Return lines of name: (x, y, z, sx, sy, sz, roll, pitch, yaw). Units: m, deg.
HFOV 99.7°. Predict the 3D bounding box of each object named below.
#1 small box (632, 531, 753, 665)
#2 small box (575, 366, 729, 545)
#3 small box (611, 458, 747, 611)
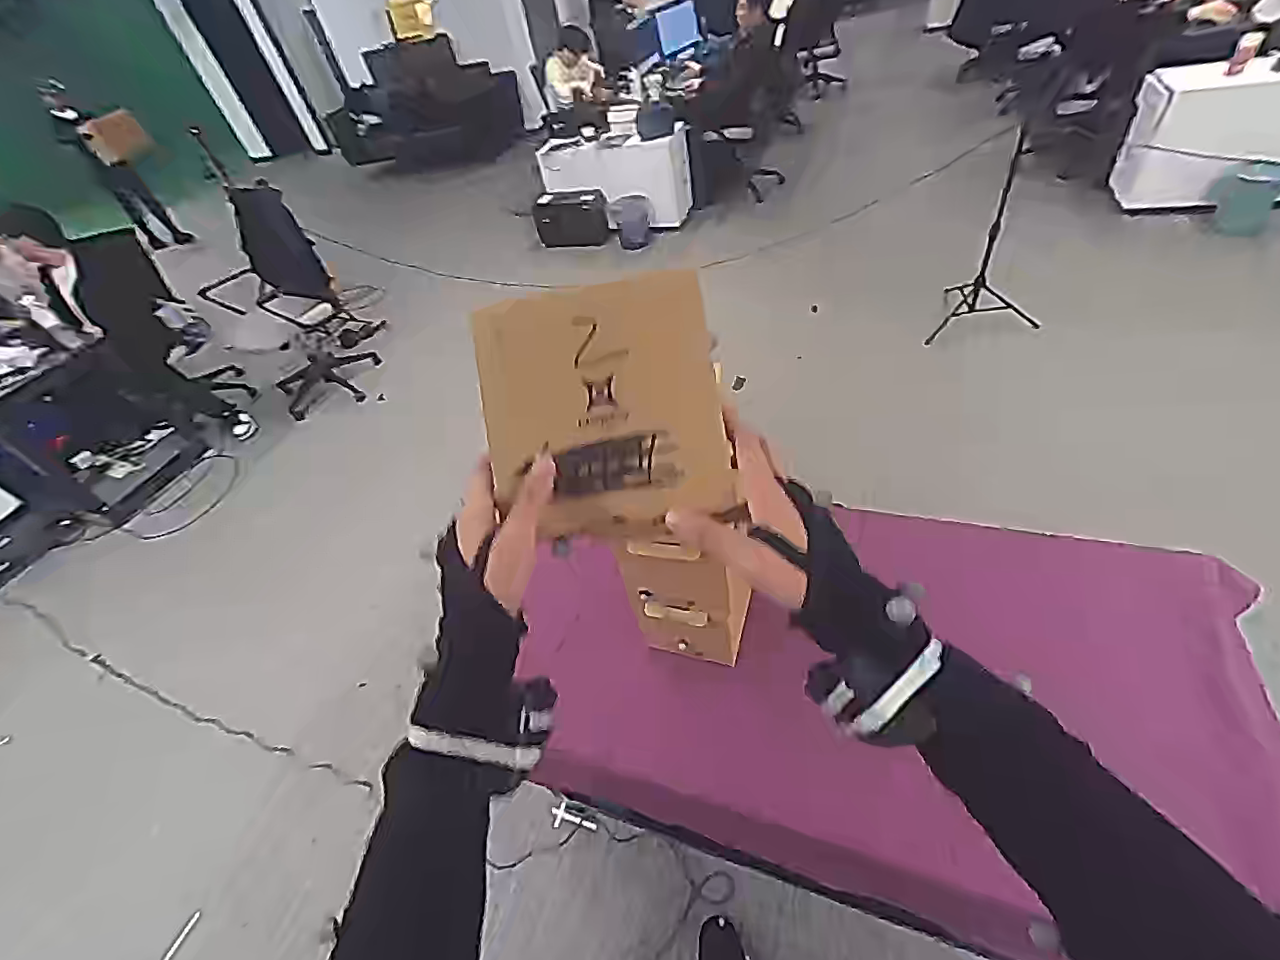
small box: (0.102, 0.194, 0.951, 0.168, 0.176, 0.179, 7, 49, 21)
small box: (0.029, -0.034, 0.727, 0.168, 0.176, 0.179, 1, 48, 15)
small box: (0.072, 0.081, 0.836, 0.168, 0.176, 0.179, 4, 47, 18)
